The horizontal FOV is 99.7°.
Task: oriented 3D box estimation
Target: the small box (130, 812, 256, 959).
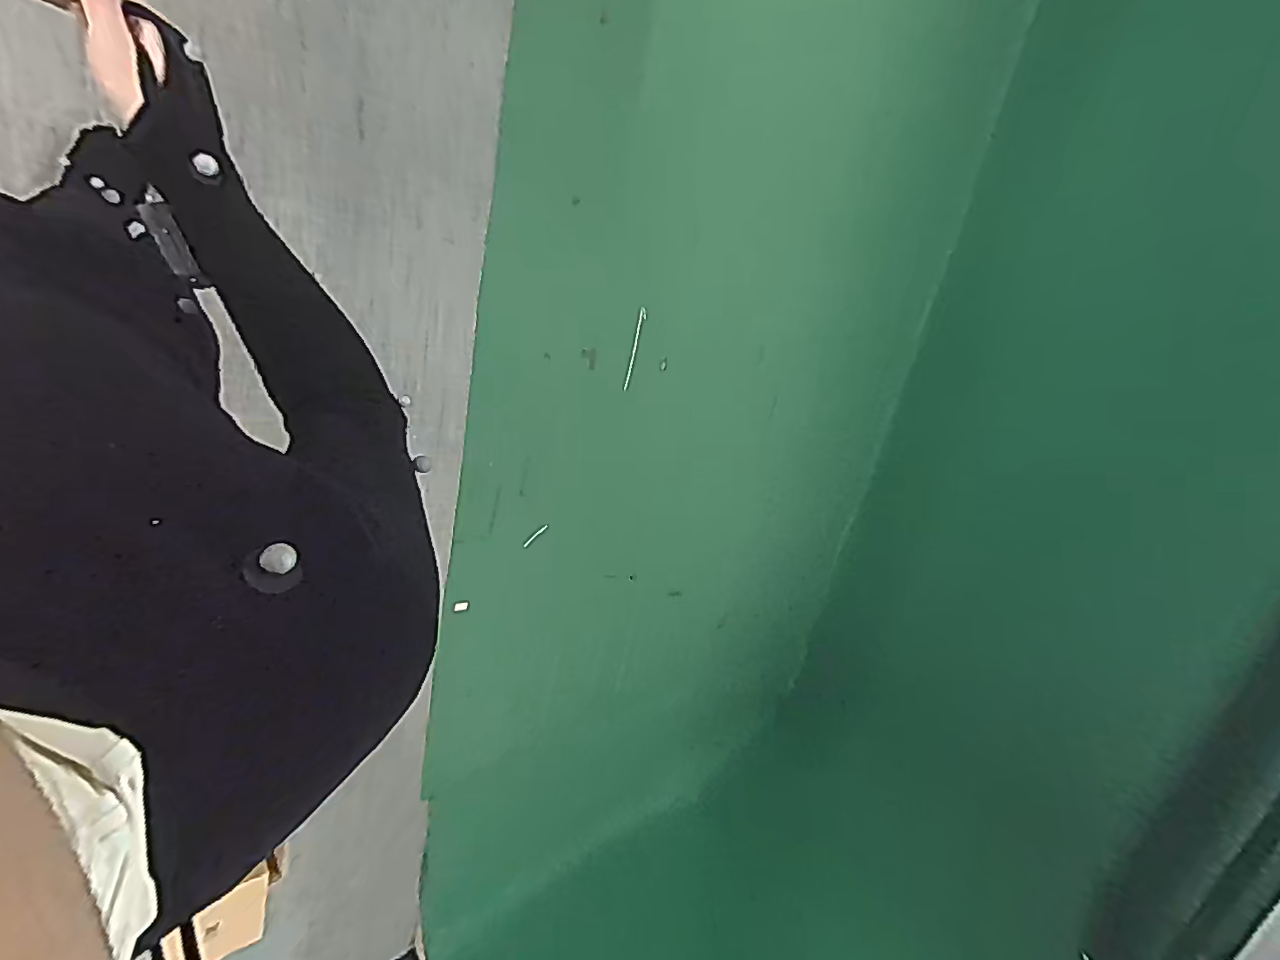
[{"bbox_3d":[-0.846,0.783,1.021,0.168,0.176,0.179,1,110,-46],"label":"small box"}]
